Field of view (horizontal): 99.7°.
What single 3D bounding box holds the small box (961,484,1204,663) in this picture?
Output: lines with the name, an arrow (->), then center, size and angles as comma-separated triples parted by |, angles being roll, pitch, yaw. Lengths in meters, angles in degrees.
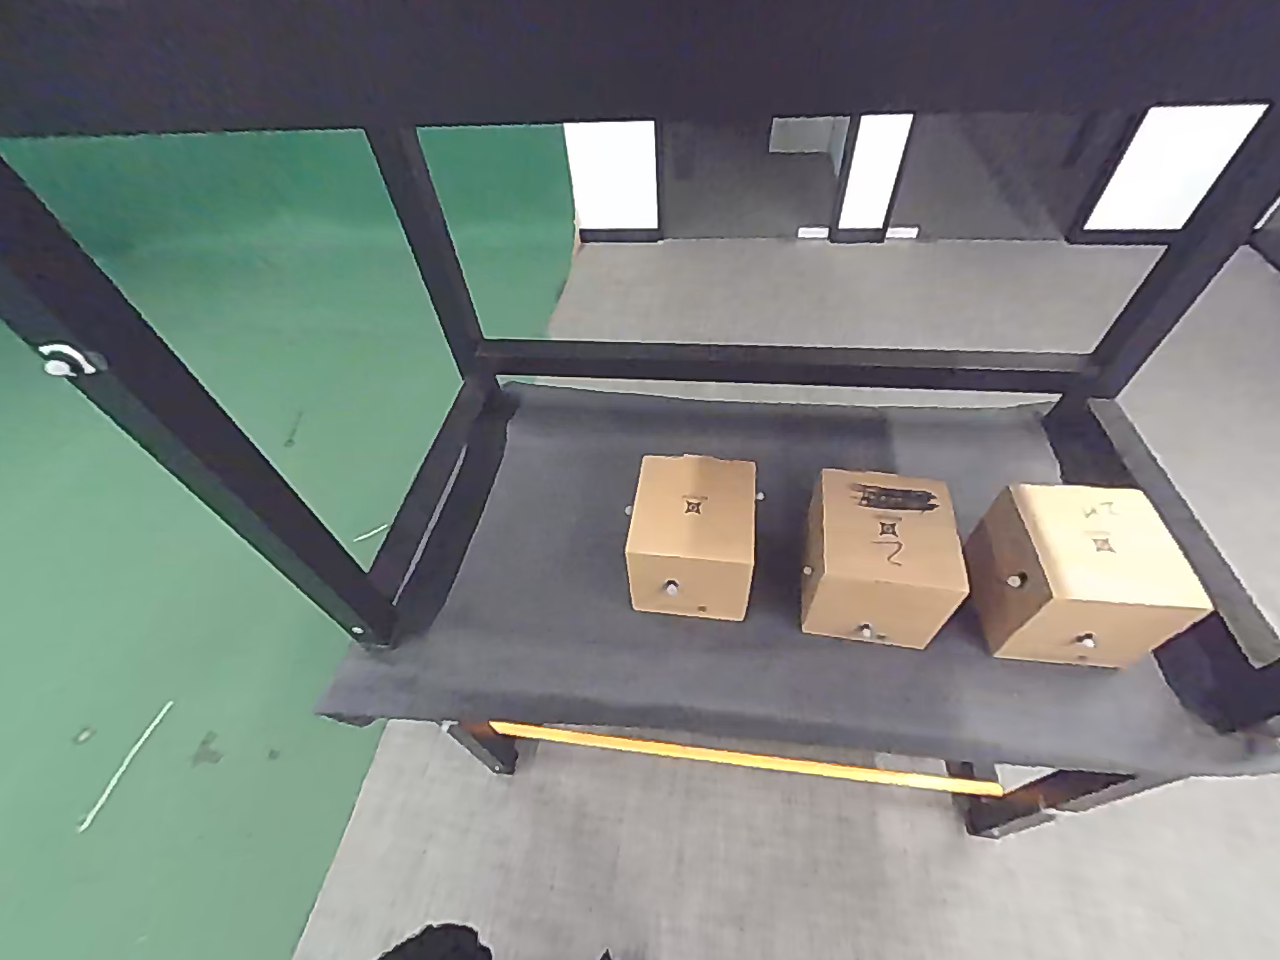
small box -> 0.564, 0.128, 0.724 | 0.168, 0.176, 0.179 | 3, 49, 7

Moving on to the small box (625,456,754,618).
small box -> 0.079, 0.087, 0.803 | 0.168, 0.176, 0.179 | 4, 50, 8
